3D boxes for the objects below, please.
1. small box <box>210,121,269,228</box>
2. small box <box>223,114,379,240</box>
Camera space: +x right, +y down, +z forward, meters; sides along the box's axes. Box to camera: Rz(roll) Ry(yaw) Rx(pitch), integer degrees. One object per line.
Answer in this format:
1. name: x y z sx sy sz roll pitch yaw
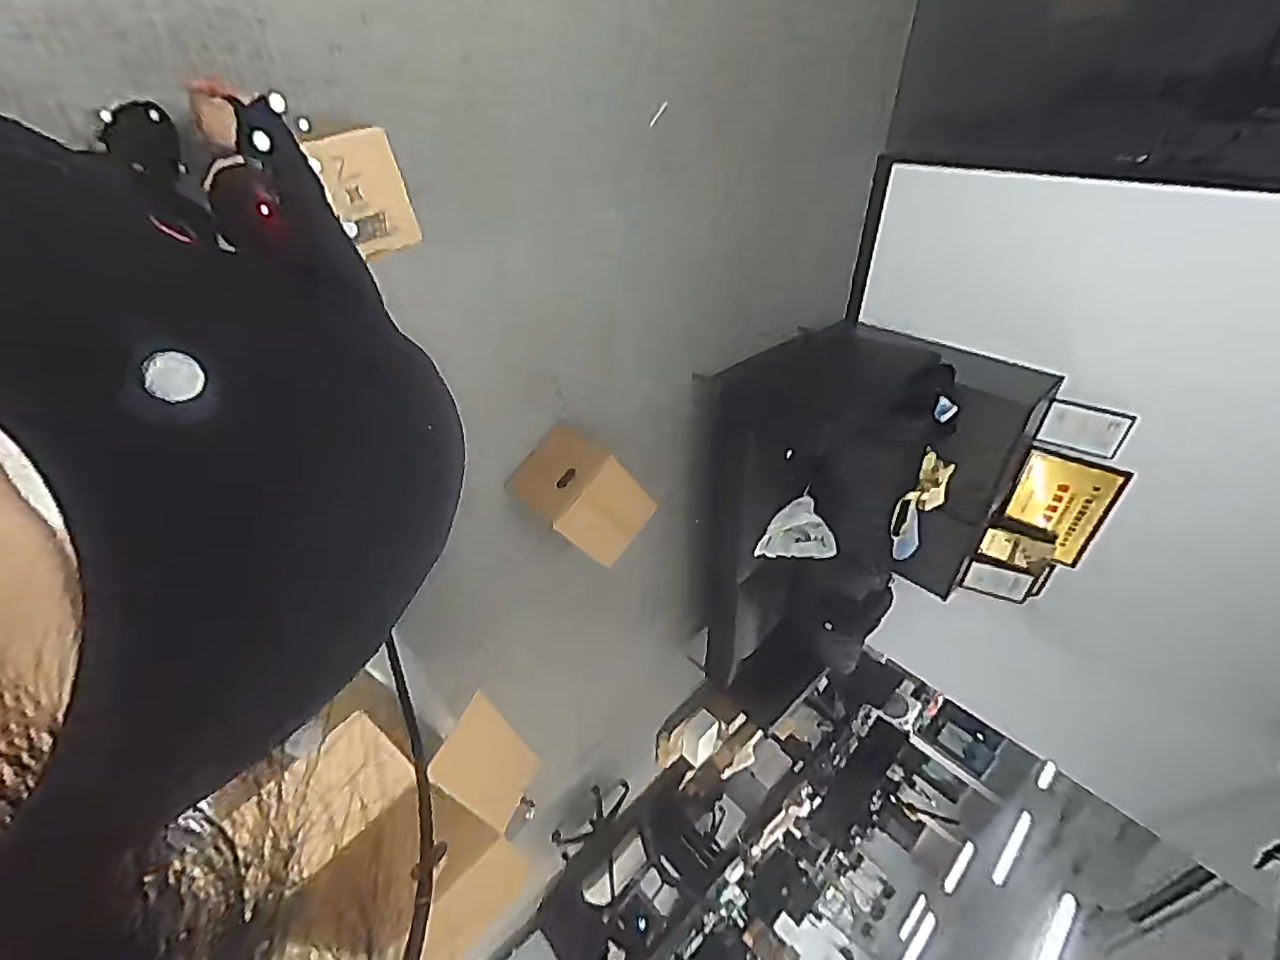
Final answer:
1. small box: -0.731 -0.623 1.093 0.179 0.176 0.168 -31 137 -30
2. small box: -0.622 -0.559 0.990 0.179 0.176 0.168 -34 139 -30
